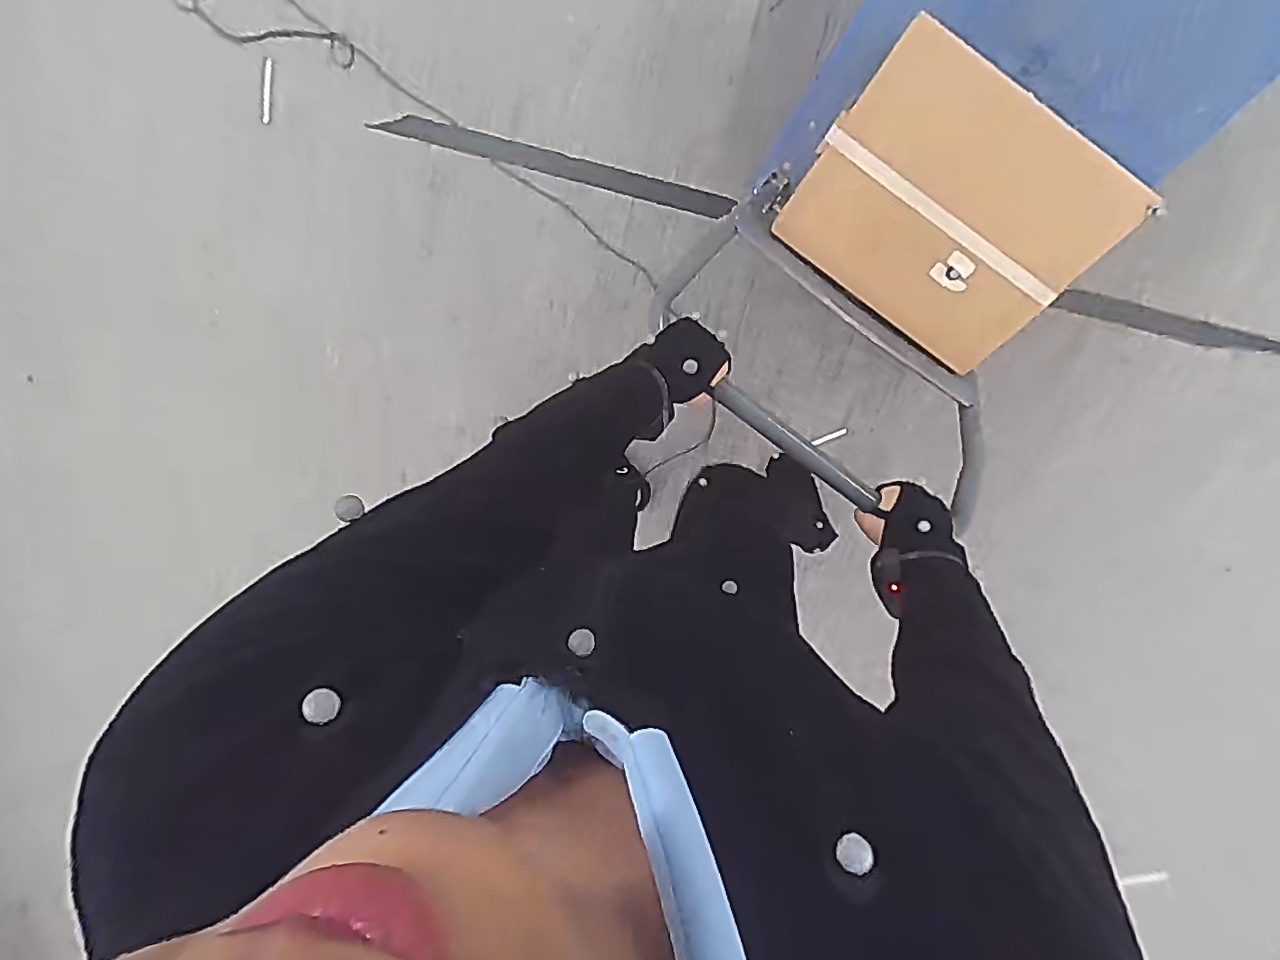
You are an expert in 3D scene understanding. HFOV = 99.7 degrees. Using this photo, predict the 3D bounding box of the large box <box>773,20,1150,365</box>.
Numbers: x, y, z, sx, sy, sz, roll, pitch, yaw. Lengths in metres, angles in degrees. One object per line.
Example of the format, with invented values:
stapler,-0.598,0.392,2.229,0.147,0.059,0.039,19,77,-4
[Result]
large box,0.497,-0.476,0.919,0.408,0.320,0.320,36,131,-3
